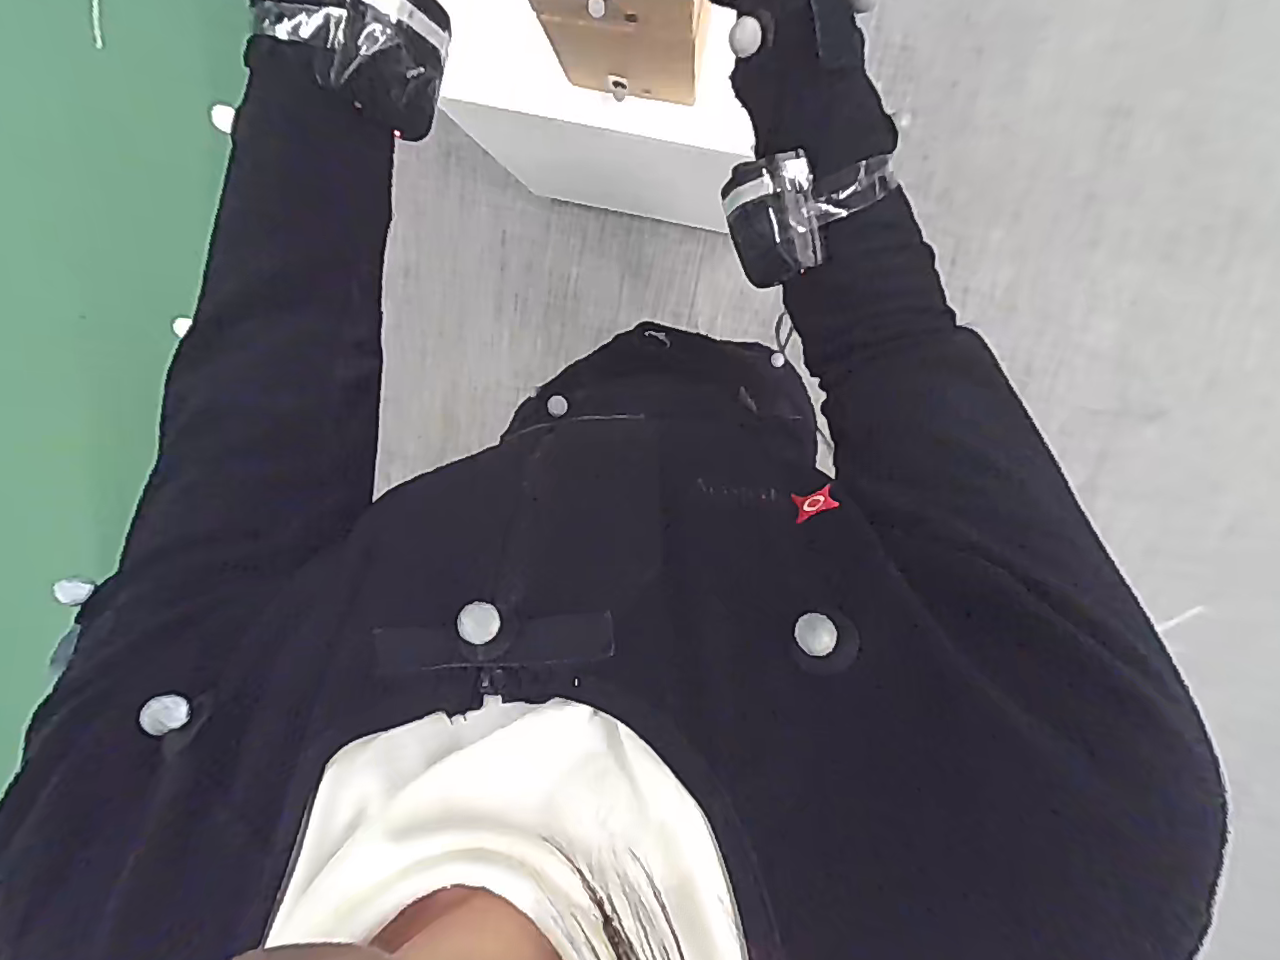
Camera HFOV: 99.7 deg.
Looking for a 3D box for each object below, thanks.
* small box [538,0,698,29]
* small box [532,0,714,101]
[{"bbox_3d":[-0.024,-0.511,0.425,0.168,0.176,0.179,9,105,4],"label":"small box"},{"bbox_3d":[-0.005,-0.551,0.584,0.168,0.176,0.179,11,107,4],"label":"small box"}]
